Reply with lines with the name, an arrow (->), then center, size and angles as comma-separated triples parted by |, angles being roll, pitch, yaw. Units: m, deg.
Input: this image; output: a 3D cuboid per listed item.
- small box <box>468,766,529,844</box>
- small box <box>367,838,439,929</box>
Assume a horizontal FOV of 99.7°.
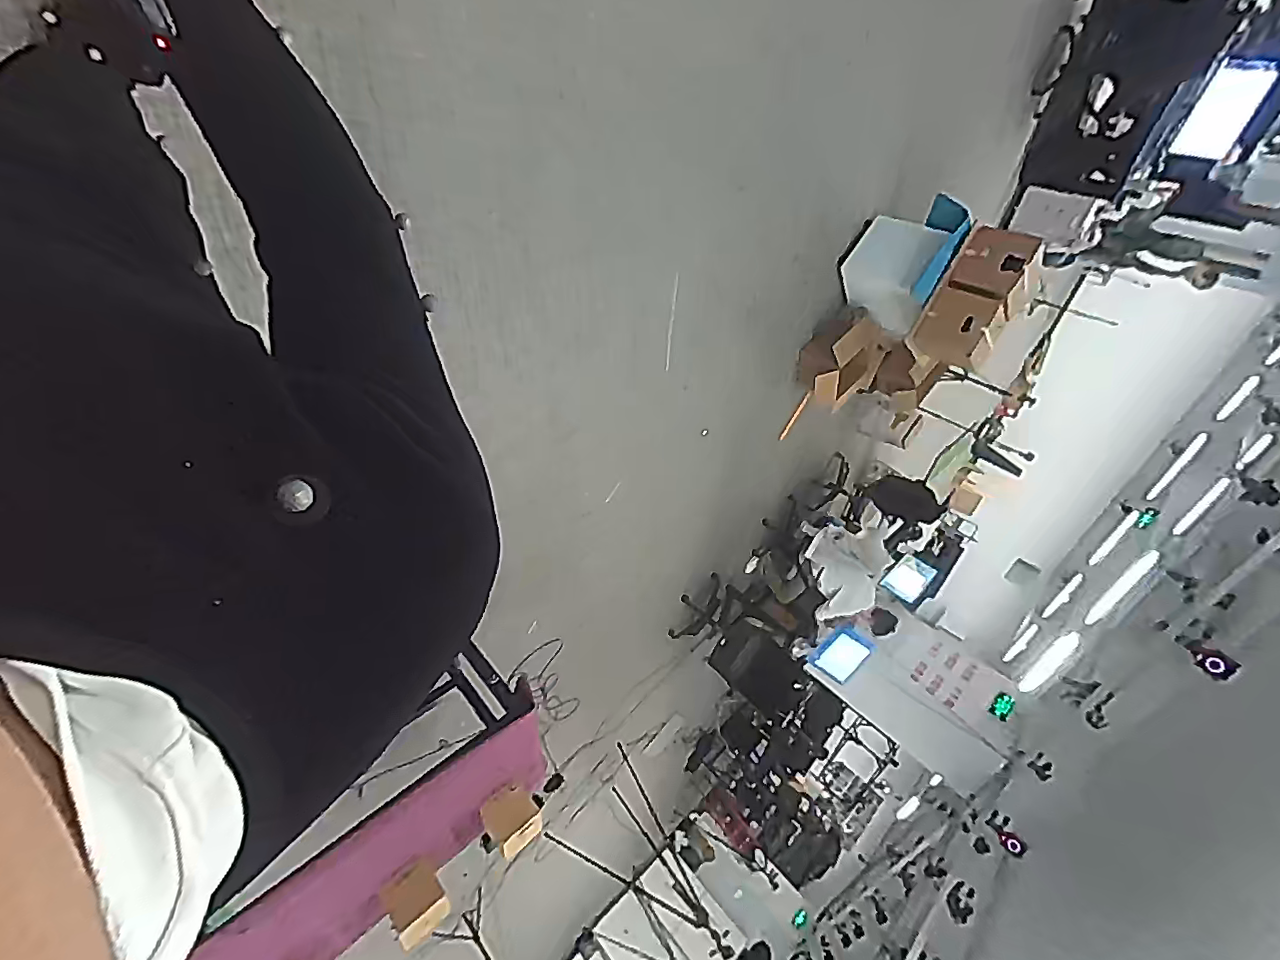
small box -> -0.548, 1.246, 2.089 | 0.168, 0.176, 0.179 | -27, 140, -36
small box -> -0.823, 1.396, 1.878 | 0.168, 0.176, 0.179 | -27, 140, -38
